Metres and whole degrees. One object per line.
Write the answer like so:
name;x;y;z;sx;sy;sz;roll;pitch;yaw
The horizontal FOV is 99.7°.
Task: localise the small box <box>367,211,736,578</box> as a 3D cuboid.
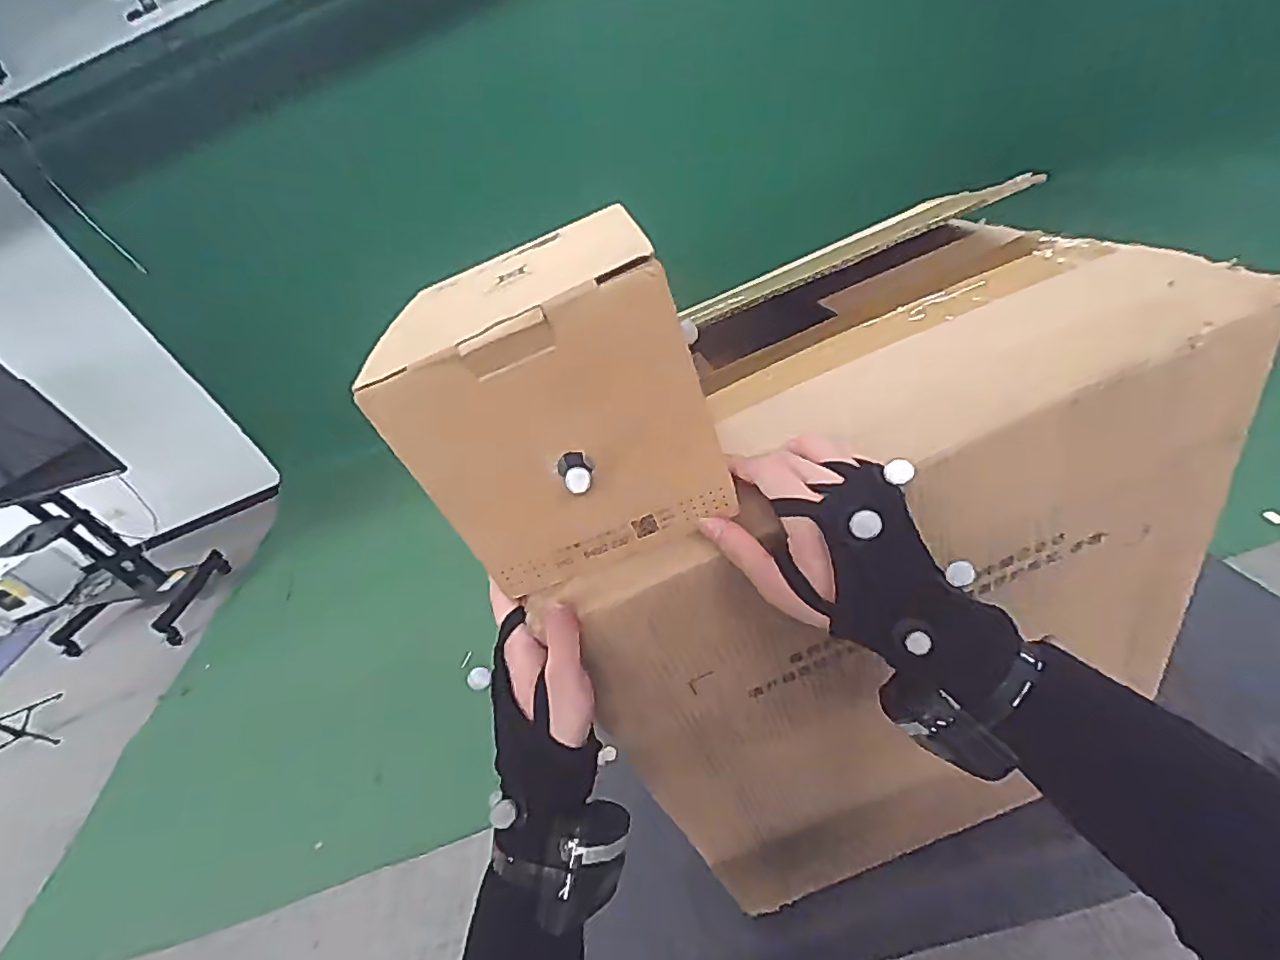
small box;-0.046;-0.055;0.376;0.168;0.176;0.179;-21;36;5
